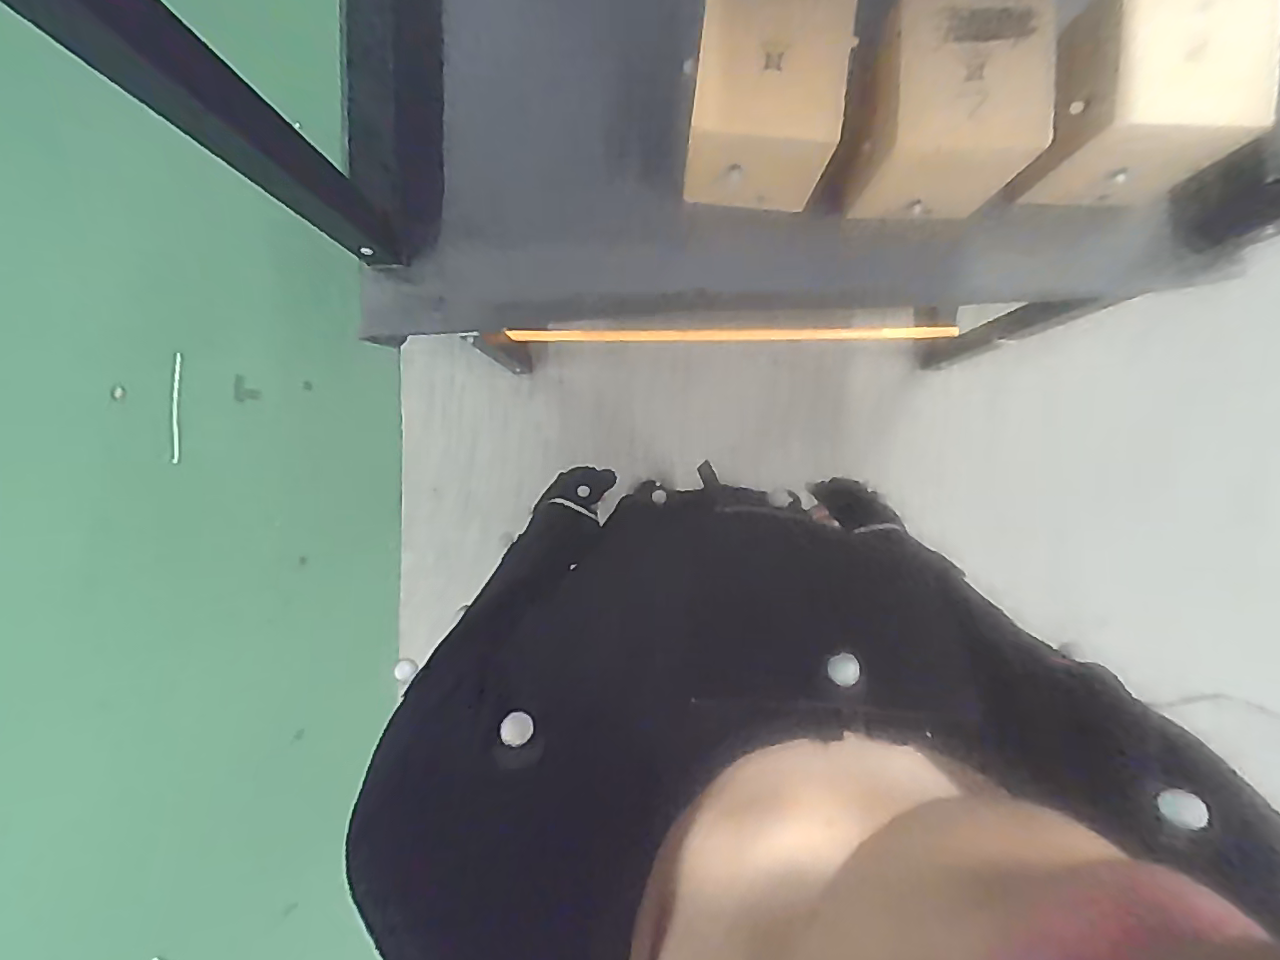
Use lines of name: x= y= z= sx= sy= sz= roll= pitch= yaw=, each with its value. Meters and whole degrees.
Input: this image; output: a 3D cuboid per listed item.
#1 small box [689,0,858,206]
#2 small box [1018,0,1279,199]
small box: x=0.153 y=-0.469 z=0.674 sx=0.168 sy=0.176 sz=0.179 roll=7 pitch=90 yaw=2
small box: x=0.594 y=-0.464 z=0.652 sx=0.168 sy=0.176 sz=0.179 roll=3 pitch=90 yaw=2
